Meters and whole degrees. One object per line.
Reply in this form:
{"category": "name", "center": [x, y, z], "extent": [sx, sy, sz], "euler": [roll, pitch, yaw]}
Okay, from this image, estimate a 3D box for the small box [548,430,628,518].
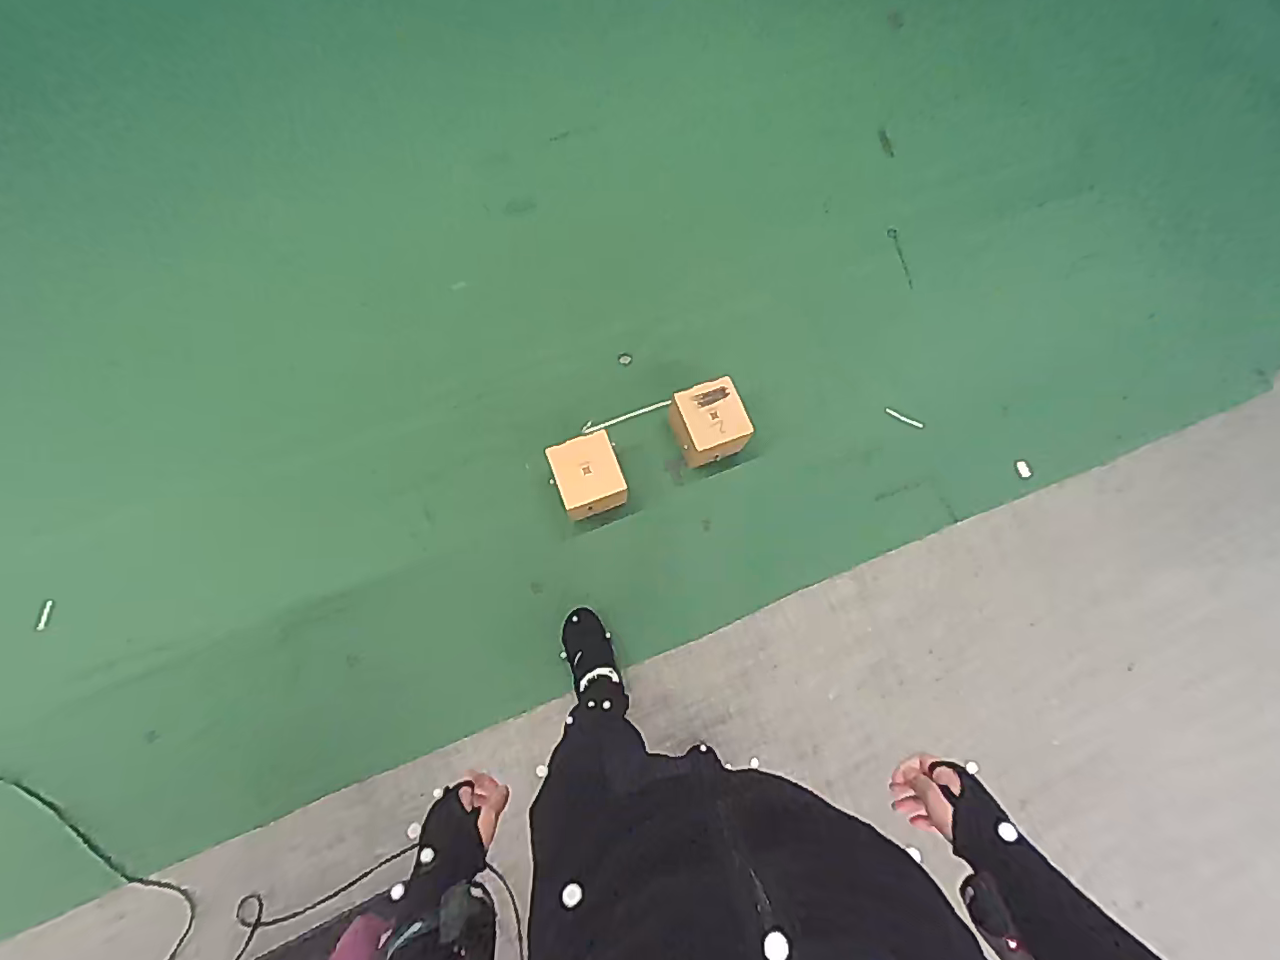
{"category": "small box", "center": [-0.134, -0.006, 1.459], "extent": [0.168, 0.176, 0.179], "euler": [-20, 76, -7]}
